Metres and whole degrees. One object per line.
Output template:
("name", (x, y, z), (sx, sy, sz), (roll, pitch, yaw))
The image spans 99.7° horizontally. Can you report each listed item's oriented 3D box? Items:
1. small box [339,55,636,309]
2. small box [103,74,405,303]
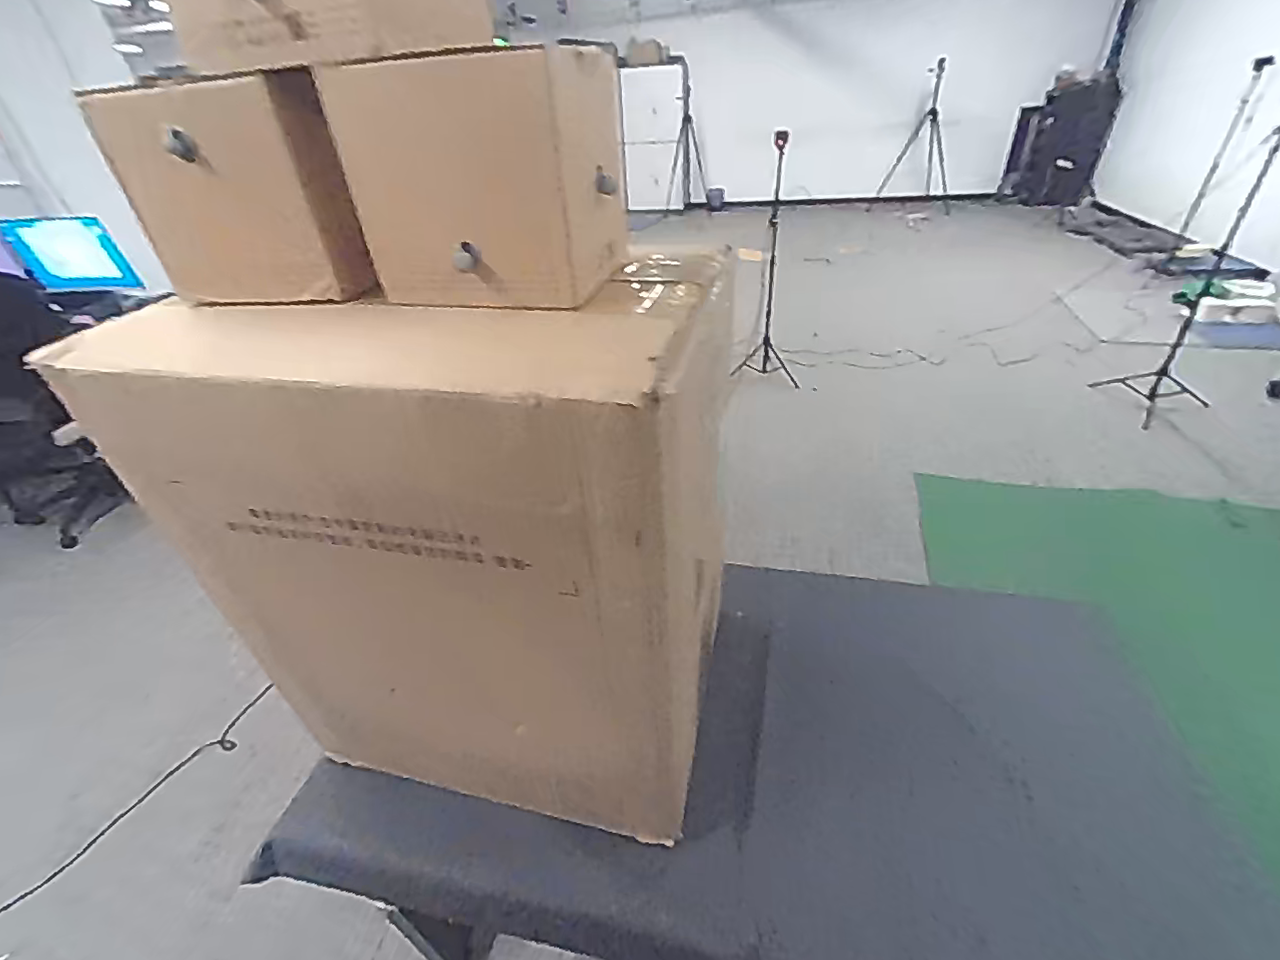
("small box", (-0.106, -0.255, 0.470), (0.179, 0.176, 0.168), (5, 36, 13))
("small box", (-0.321, -0.276, 0.518), (0.179, 0.176, 0.168), (4, 36, 10))
